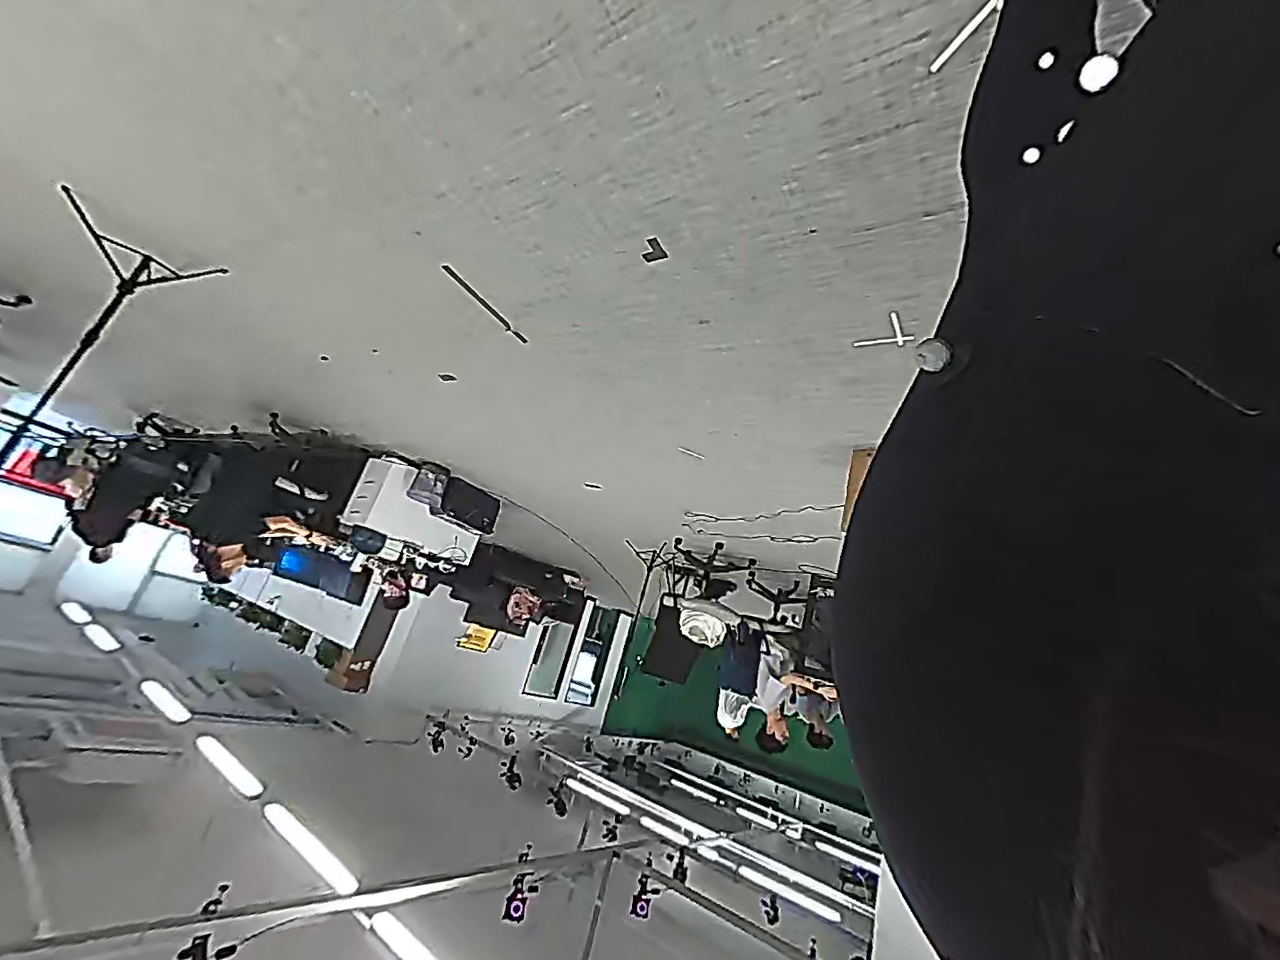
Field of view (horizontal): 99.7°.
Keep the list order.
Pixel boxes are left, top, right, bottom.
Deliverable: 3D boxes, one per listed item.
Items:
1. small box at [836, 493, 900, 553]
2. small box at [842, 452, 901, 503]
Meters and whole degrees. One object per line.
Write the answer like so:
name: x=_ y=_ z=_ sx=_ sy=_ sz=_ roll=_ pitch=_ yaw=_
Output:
small box: x=0.856 y=0.157 z=2.024 sx=0.179 sy=0.176 sz=0.168 roll=3 pitch=158 yaw=38
small box: x=0.895 y=0.006 z=2.077 sx=0.168 sy=0.176 sz=0.179 roll=2 pitch=157 yaw=37
